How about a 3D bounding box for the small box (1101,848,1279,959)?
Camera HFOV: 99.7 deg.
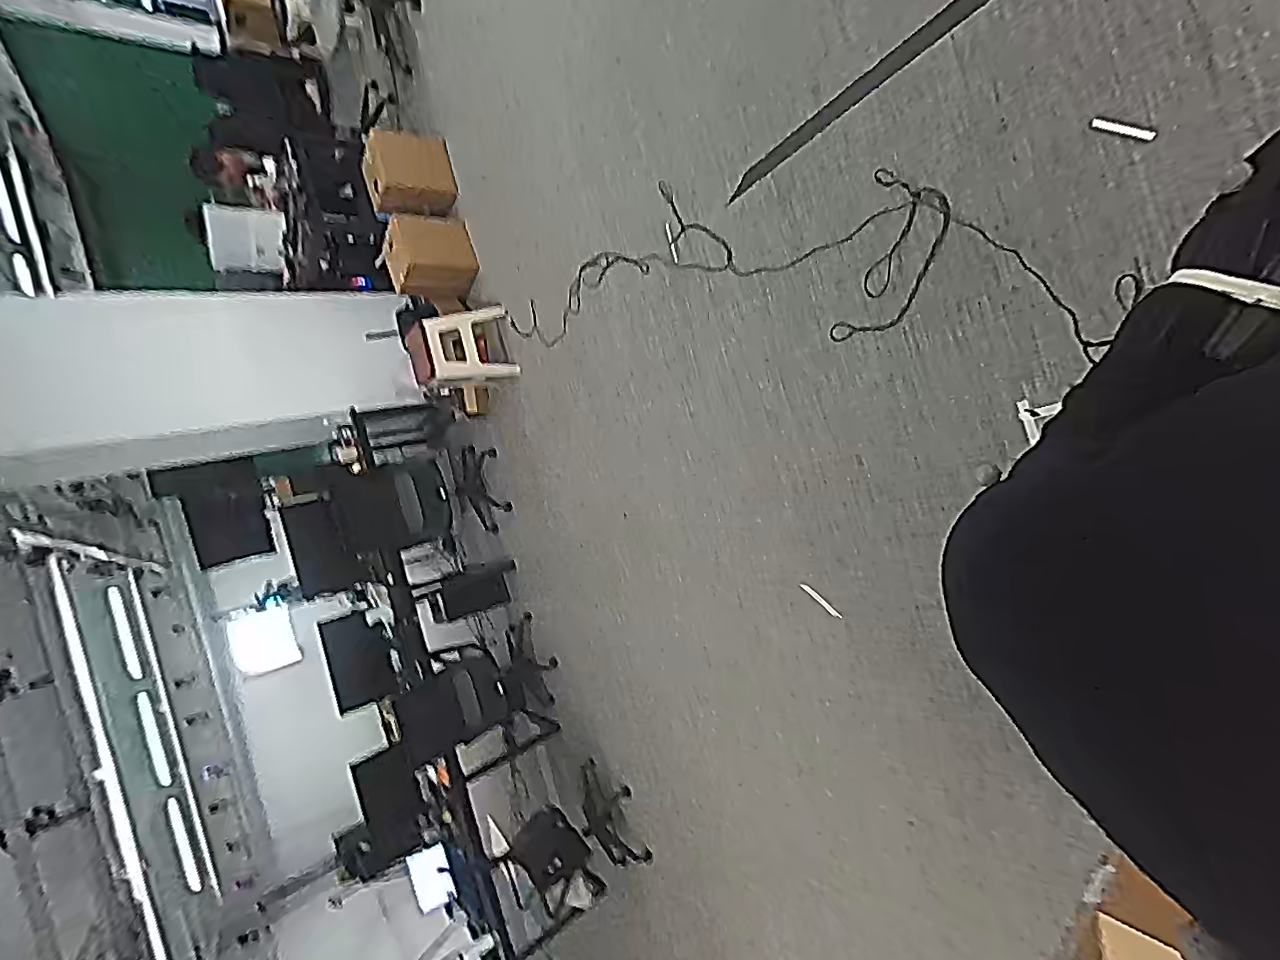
[{"bbox_3d":[0.723,0.614,0.677,0.179,0.176,0.168,-4,97,57],"label":"small box"}]
